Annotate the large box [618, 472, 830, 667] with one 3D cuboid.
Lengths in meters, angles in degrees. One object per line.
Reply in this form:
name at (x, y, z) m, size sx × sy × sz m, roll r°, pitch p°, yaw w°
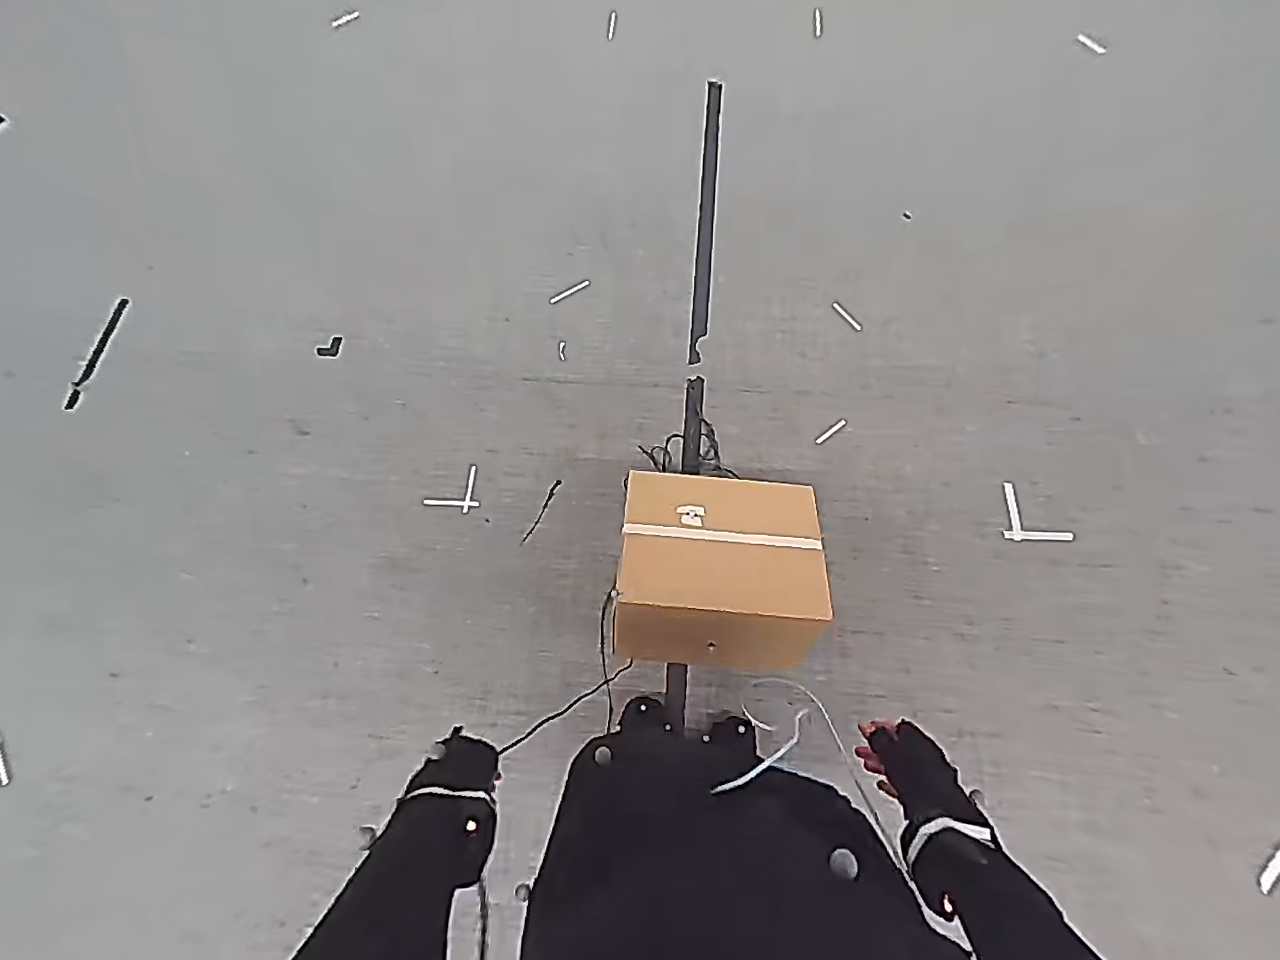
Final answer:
large box at (0.167, 0.208, 1.216) m, size 0.408 × 0.320 × 0.320 m, roll 5°, pitch 52°, yaw 2°
